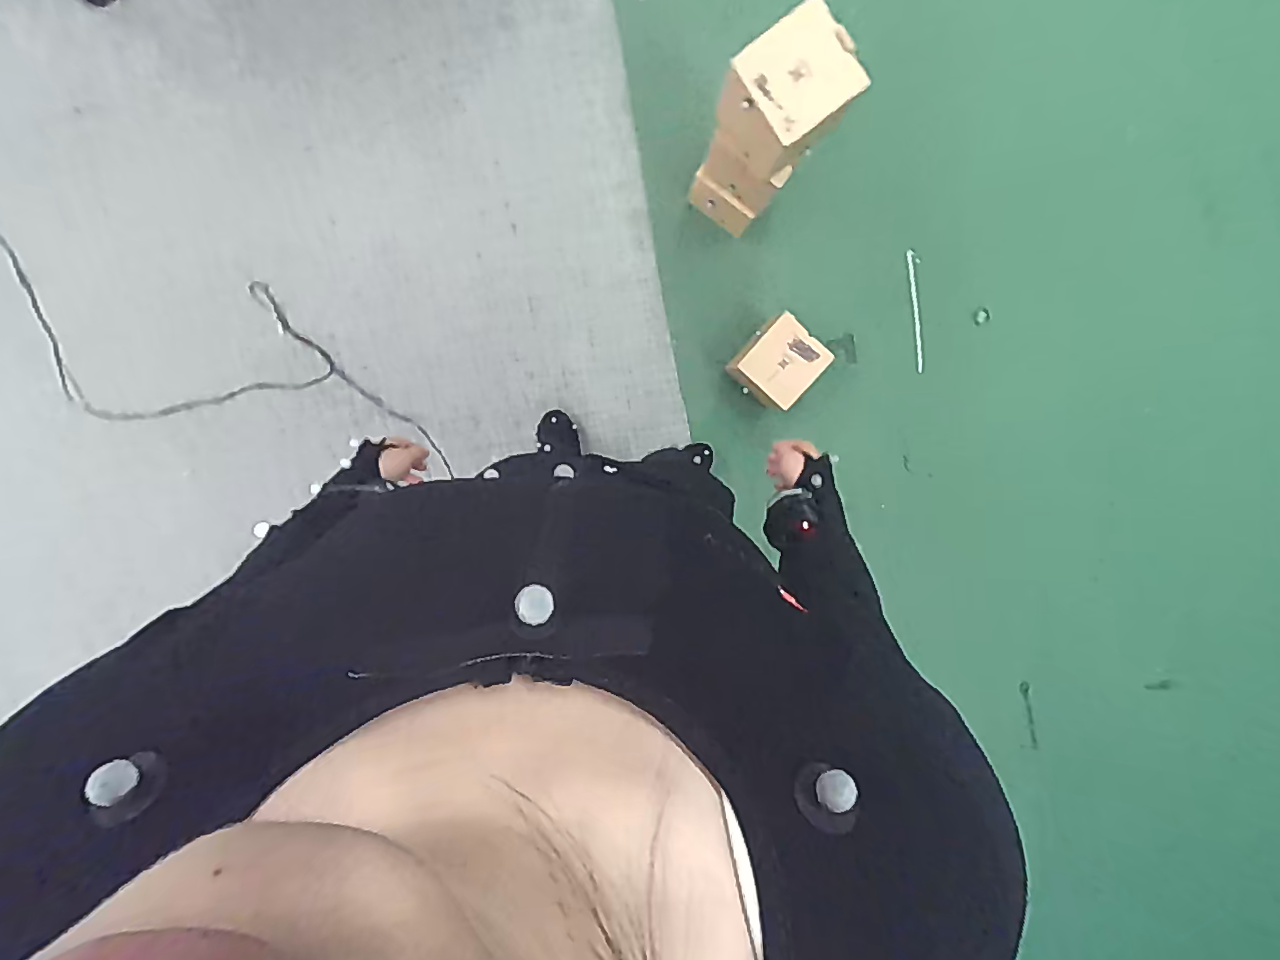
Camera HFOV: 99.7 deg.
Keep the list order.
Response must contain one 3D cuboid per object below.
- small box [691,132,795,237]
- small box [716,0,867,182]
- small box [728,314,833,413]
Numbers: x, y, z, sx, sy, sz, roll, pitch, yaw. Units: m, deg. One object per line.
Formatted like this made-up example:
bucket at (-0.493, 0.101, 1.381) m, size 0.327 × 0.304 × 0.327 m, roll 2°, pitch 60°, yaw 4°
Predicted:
small box at (0.237, -0.717, 1.293) m, size 0.168 × 0.176 × 0.179 m, roll 35°, pitch 96°, yaw -6°
small box at (0.260, -0.679, 0.968) m, size 0.179 × 0.176 × 0.168 m, roll -34°, pitch 101°, yaw 4°
small box at (0.343, -0.290, 1.361) m, size 0.168 × 0.176 × 0.179 m, roll 41°, pitch 97°, yaw -7°
